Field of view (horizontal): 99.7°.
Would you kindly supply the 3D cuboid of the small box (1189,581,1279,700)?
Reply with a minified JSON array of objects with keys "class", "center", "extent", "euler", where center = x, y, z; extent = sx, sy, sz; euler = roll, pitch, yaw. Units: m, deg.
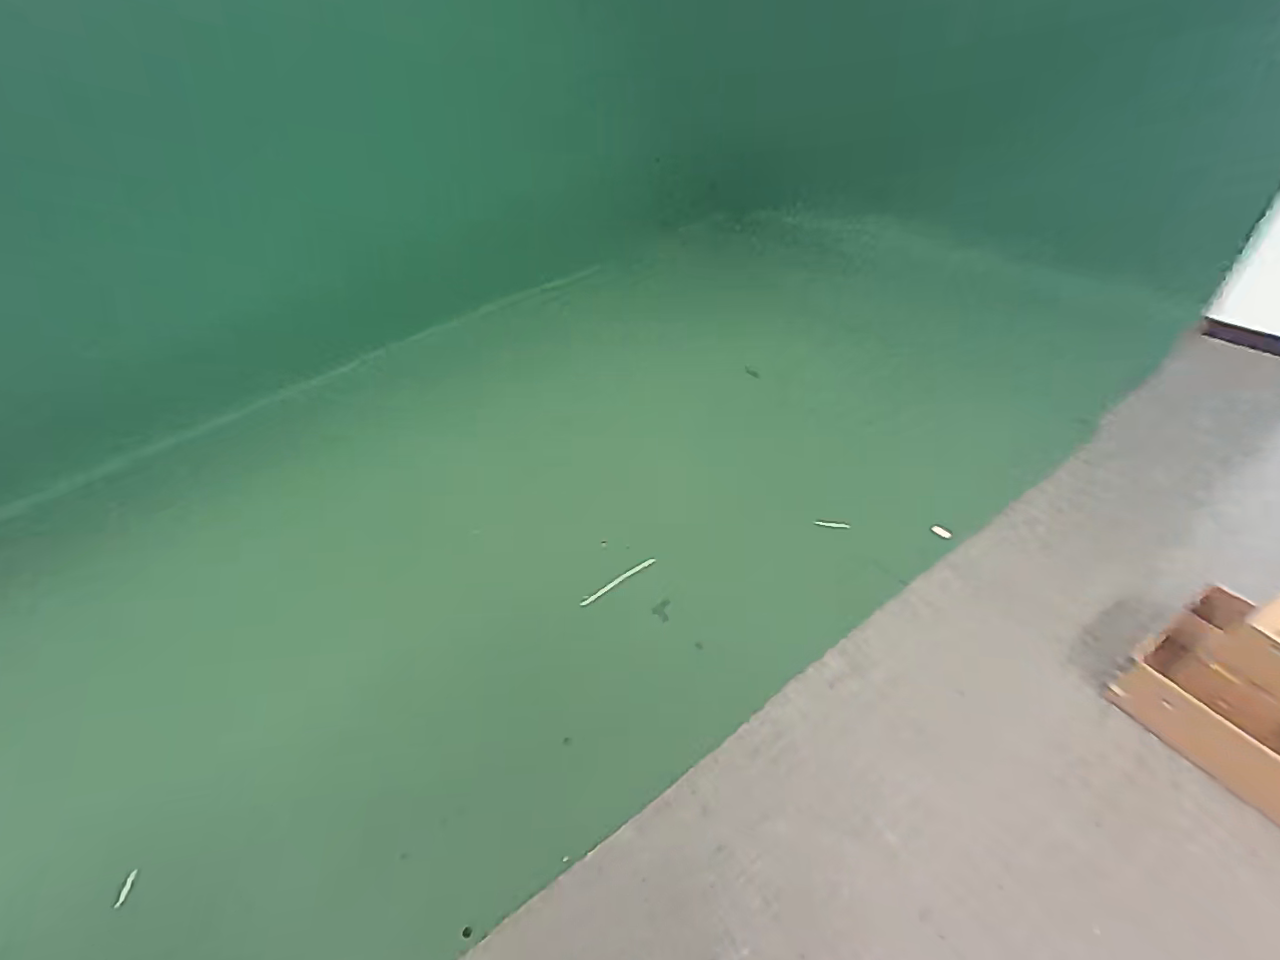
[{"class":"small box","center":[1.467,0.377,1.268],"extent":[0.179,0.176,0.168],"euler":[-26,47,-16]}]

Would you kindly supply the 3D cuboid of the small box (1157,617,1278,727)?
[{"class":"small box","center":[1.488,0.494,1.382],"extent":[0.179,0.176,0.168],"euler":[-31,50,-19]}]
